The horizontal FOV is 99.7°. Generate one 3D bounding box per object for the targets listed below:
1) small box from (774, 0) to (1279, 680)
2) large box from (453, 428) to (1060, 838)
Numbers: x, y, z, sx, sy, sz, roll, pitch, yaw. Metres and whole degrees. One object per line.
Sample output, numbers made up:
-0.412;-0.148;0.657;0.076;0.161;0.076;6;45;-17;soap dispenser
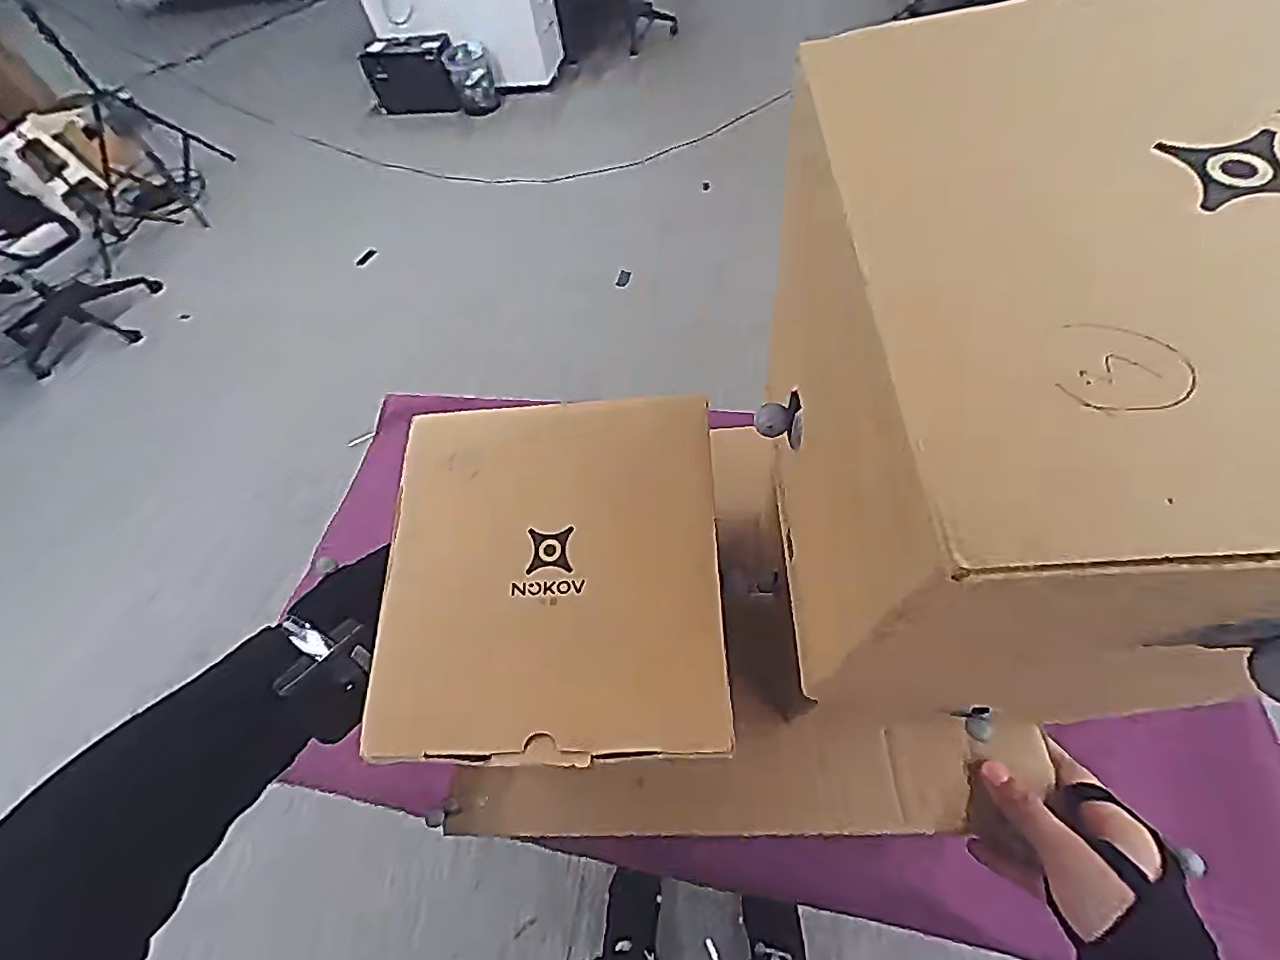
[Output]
0.142;-0.030;0.180;0.179;0.176;0.168;-3;62;7;small box
0.082;0.161;0.552;0.408;0.320;0.320;-4;61;6;large box
